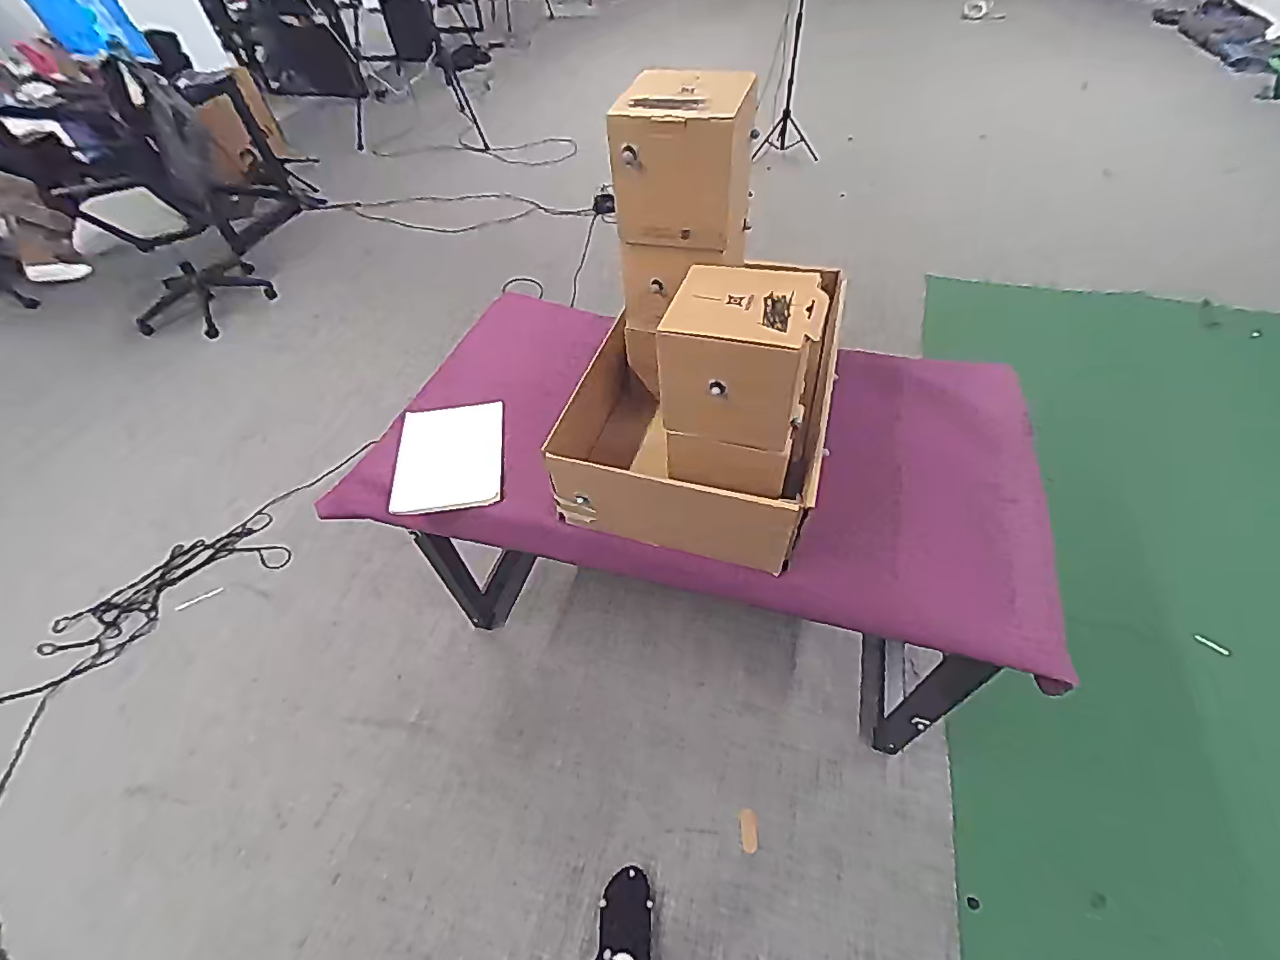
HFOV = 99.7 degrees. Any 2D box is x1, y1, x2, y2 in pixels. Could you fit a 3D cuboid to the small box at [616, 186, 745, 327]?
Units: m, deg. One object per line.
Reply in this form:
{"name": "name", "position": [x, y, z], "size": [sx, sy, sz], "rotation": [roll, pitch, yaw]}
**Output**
{"name": "small box", "position": [0.073, -0.365, 0.909], "size": [0.168, 0.176, 0.179], "rotation": [13, 54, 15]}

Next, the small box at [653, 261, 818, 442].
{"name": "small box", "position": [0.130, -0.172, 0.737], "size": [0.179, 0.176, 0.168], "rotation": [12, 51, 17]}
